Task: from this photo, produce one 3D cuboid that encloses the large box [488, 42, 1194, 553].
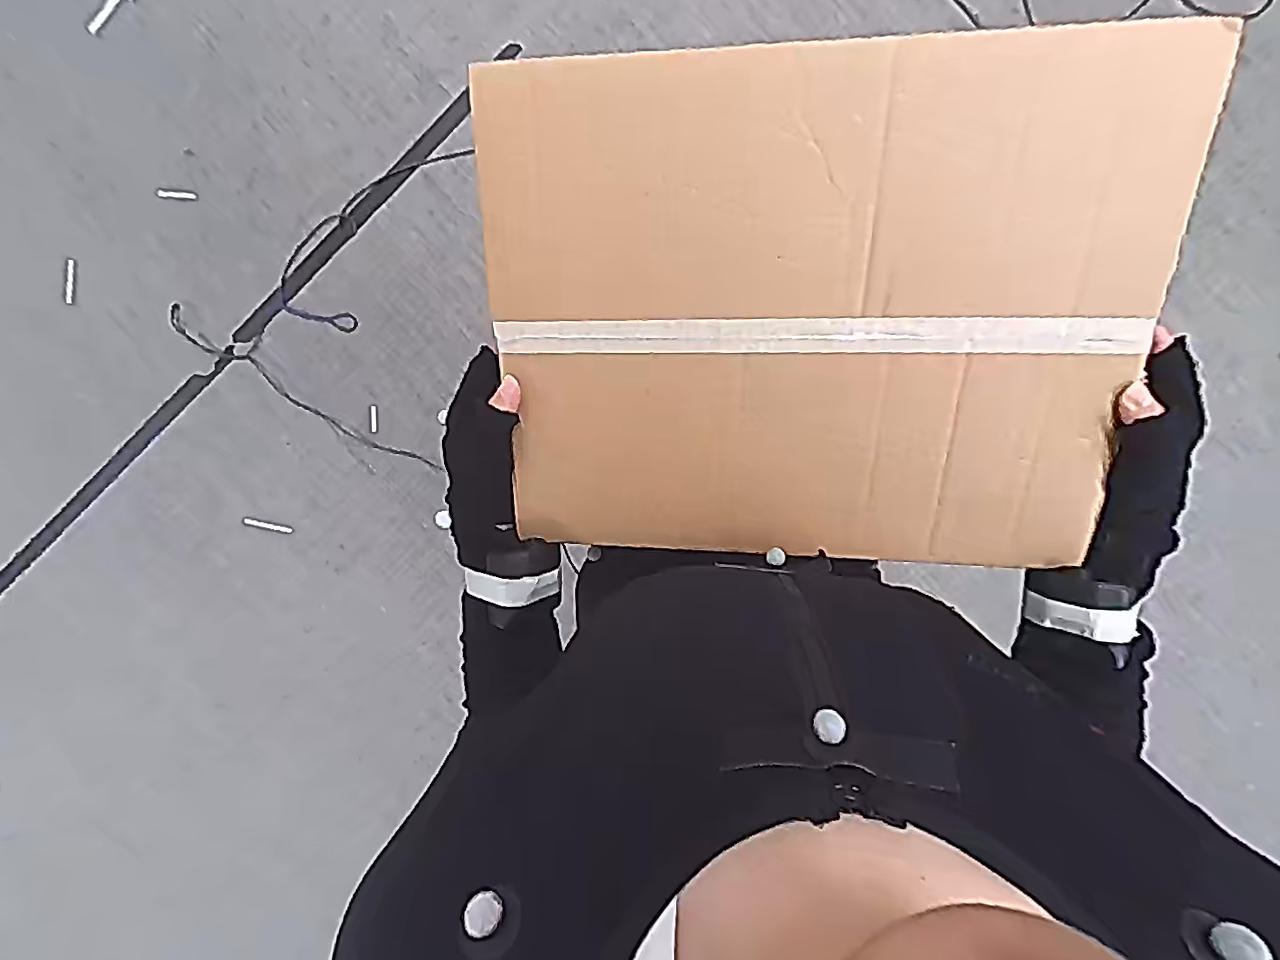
[{"bbox_3d":[0.120,-0.145,0.502,0.408,0.320,0.320,2,112,7],"label":"large box"}]
